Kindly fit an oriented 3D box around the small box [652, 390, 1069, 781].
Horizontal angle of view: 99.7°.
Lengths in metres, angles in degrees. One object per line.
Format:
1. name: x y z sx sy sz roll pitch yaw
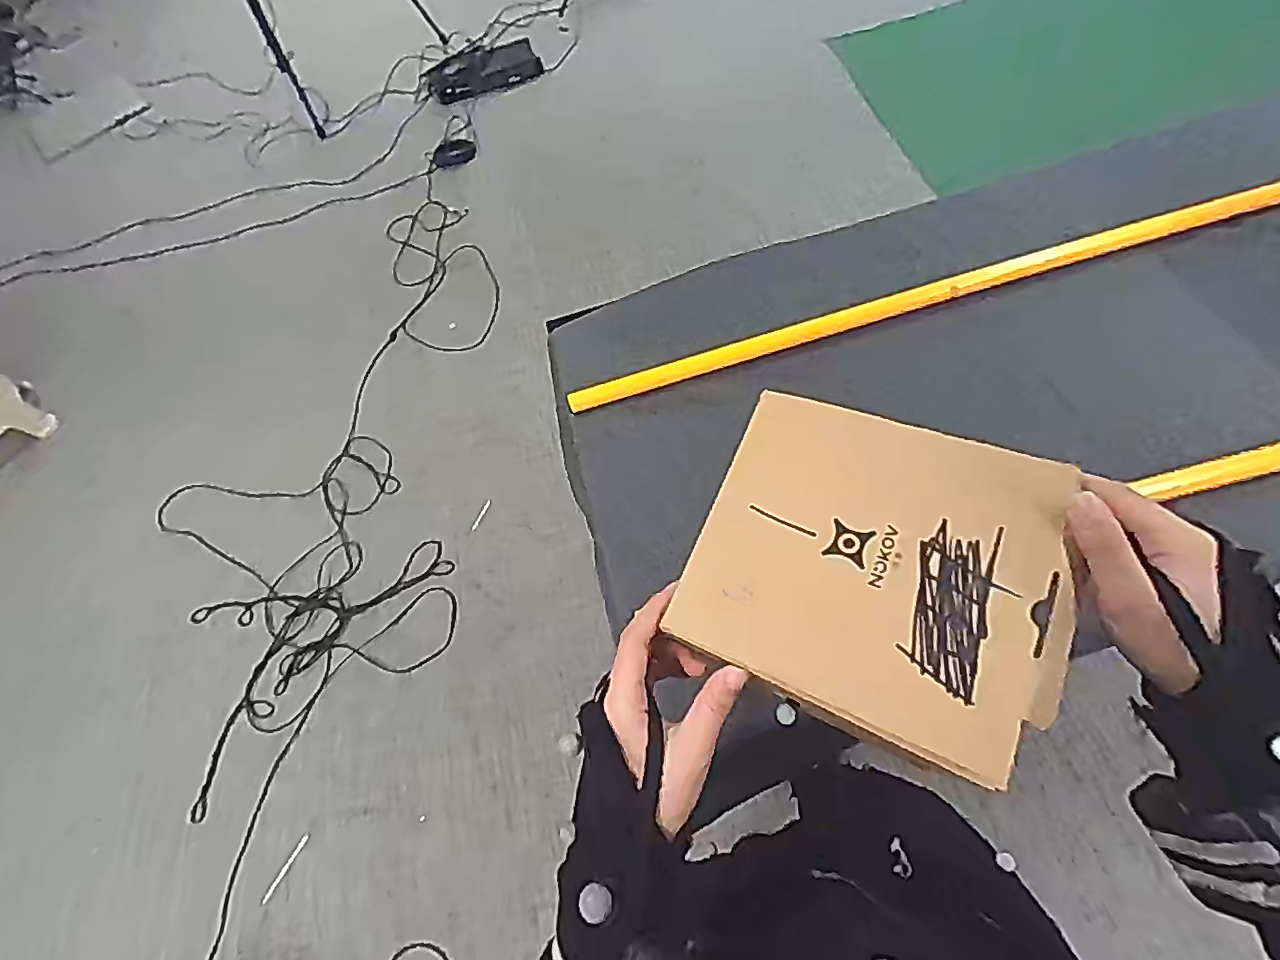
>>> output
1. small box: 0.135 0.070 0.365 0.179 0.176 0.168 20 72 23
